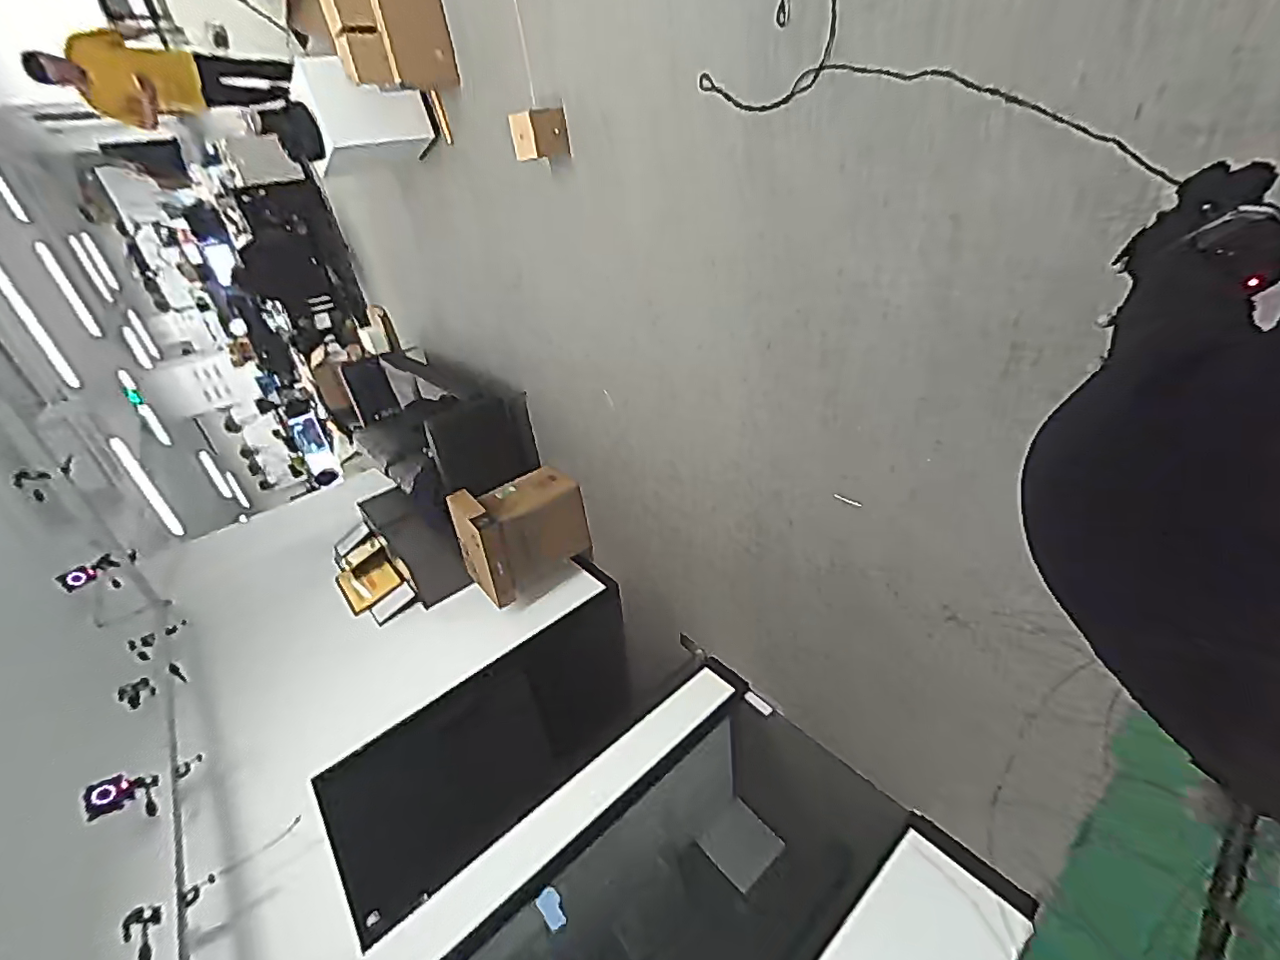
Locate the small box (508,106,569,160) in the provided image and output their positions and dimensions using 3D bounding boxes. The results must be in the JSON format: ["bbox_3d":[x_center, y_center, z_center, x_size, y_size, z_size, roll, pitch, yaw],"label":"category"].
[{"bbox_3d":[-0.422,-1.449,2.261,0.179,0.176,0.168,26,136,45],"label":"small box"}]
